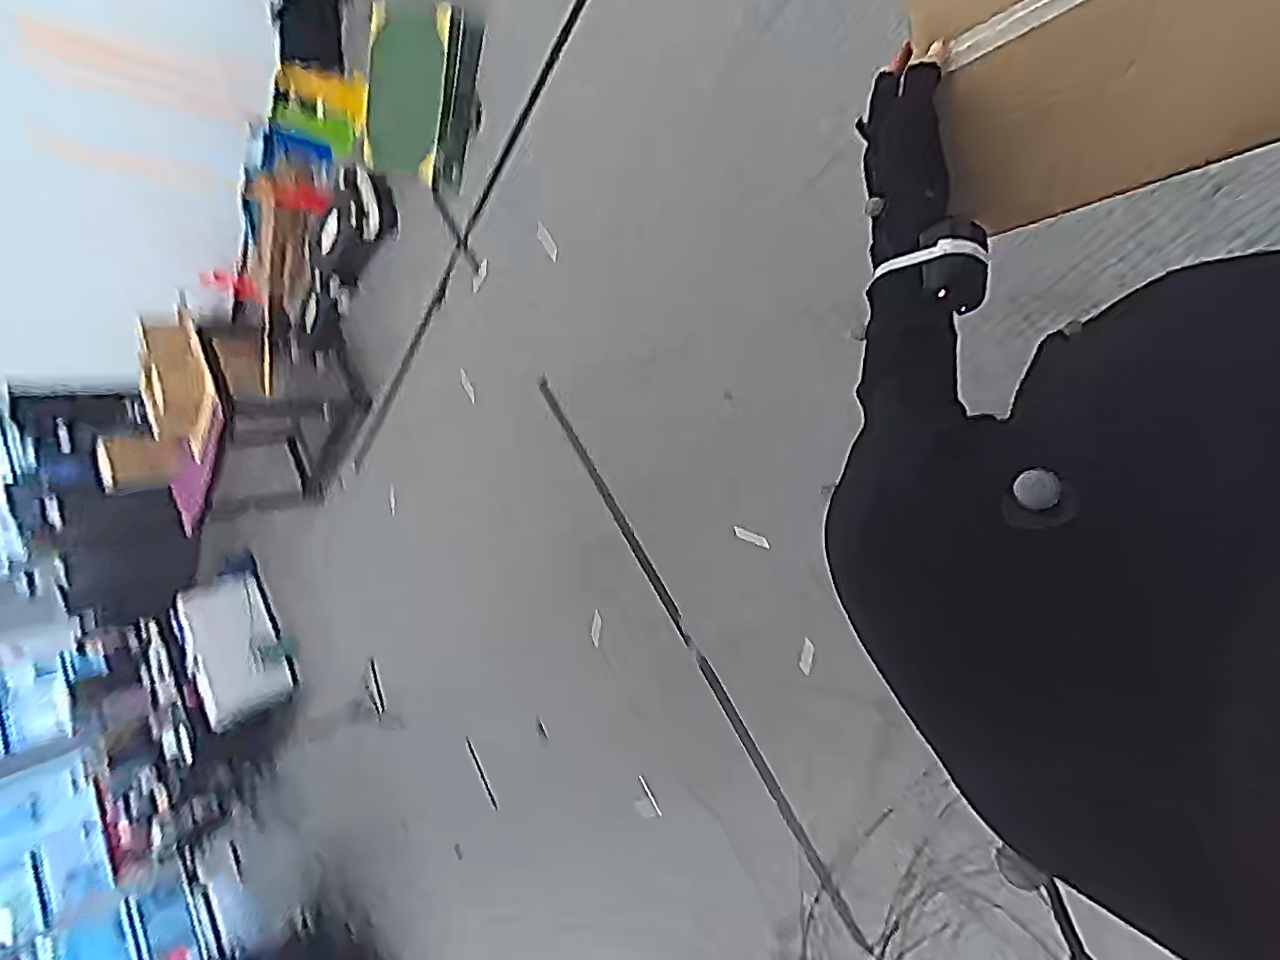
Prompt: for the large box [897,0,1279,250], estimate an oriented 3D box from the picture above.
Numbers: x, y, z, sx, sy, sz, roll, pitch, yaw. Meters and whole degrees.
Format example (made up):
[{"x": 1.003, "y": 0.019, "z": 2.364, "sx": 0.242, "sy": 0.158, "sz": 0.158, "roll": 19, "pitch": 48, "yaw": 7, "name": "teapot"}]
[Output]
[{"x": 0.486, "y": -0.447, "z": 0.469, "sx": 0.408, "sy": 0.320, "sz": 0.320, "roll": -9, "pitch": 110, "yaw": 42, "name": "large box"}]
